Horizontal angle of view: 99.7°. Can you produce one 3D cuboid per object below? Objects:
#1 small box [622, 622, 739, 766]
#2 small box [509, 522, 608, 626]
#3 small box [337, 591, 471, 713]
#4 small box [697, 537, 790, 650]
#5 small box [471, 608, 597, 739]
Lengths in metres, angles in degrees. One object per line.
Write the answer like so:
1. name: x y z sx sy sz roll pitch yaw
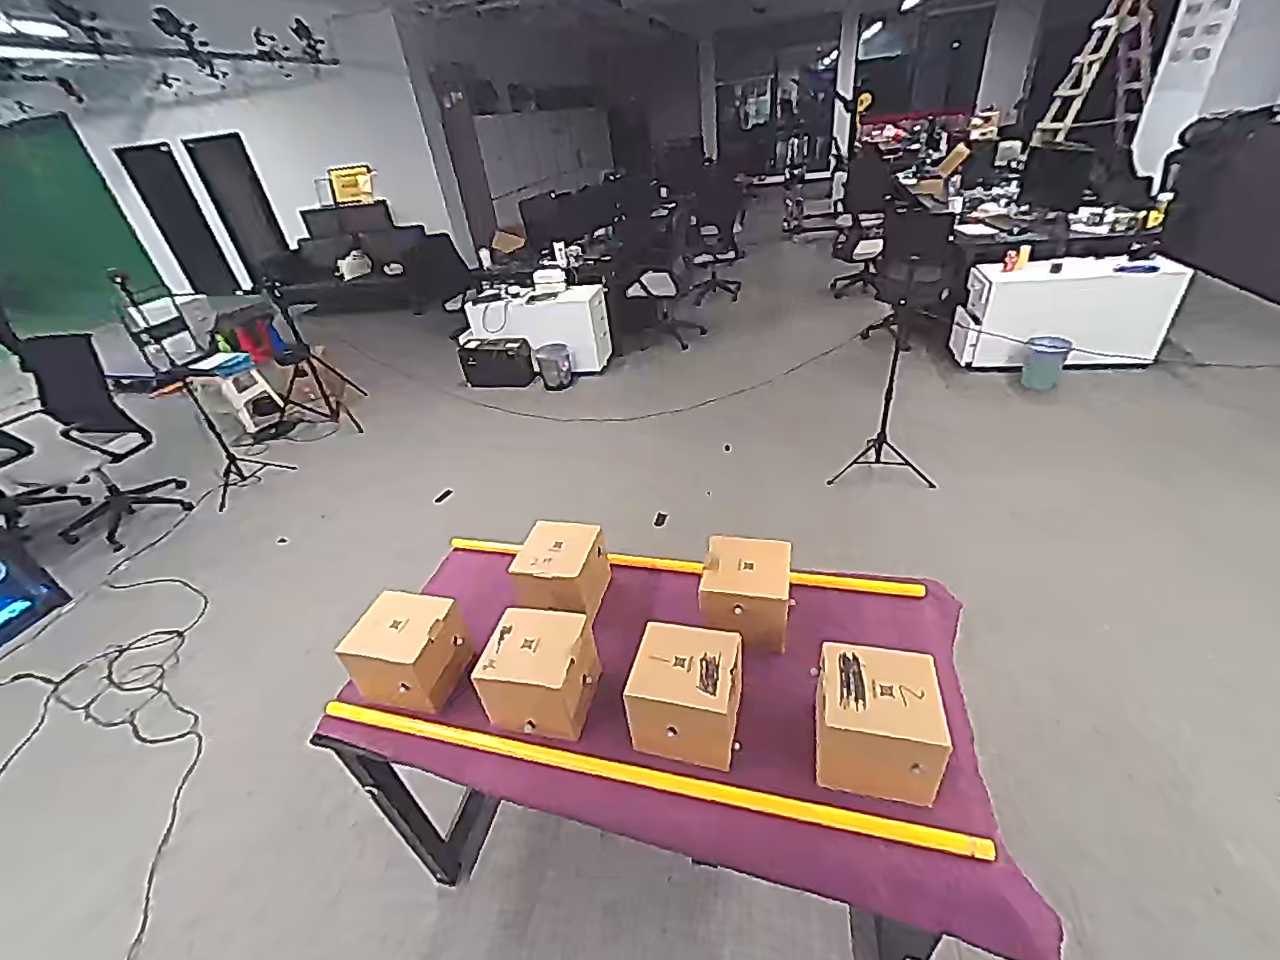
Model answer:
1. small box: 0.083 0.387 0.979 0.179 0.176 0.168 3 34 18
2. small box: -0.181 0.222 1.274 0.168 0.176 0.179 3 37 16
3. small box: -0.478 0.359 1.128 0.179 0.176 0.168 4 35 13
4. small box: 0.227 0.244 1.163 0.179 0.176 0.168 2 36 16
5. small box: -0.193 0.377 1.051 0.179 0.176 0.168 3 35 13
